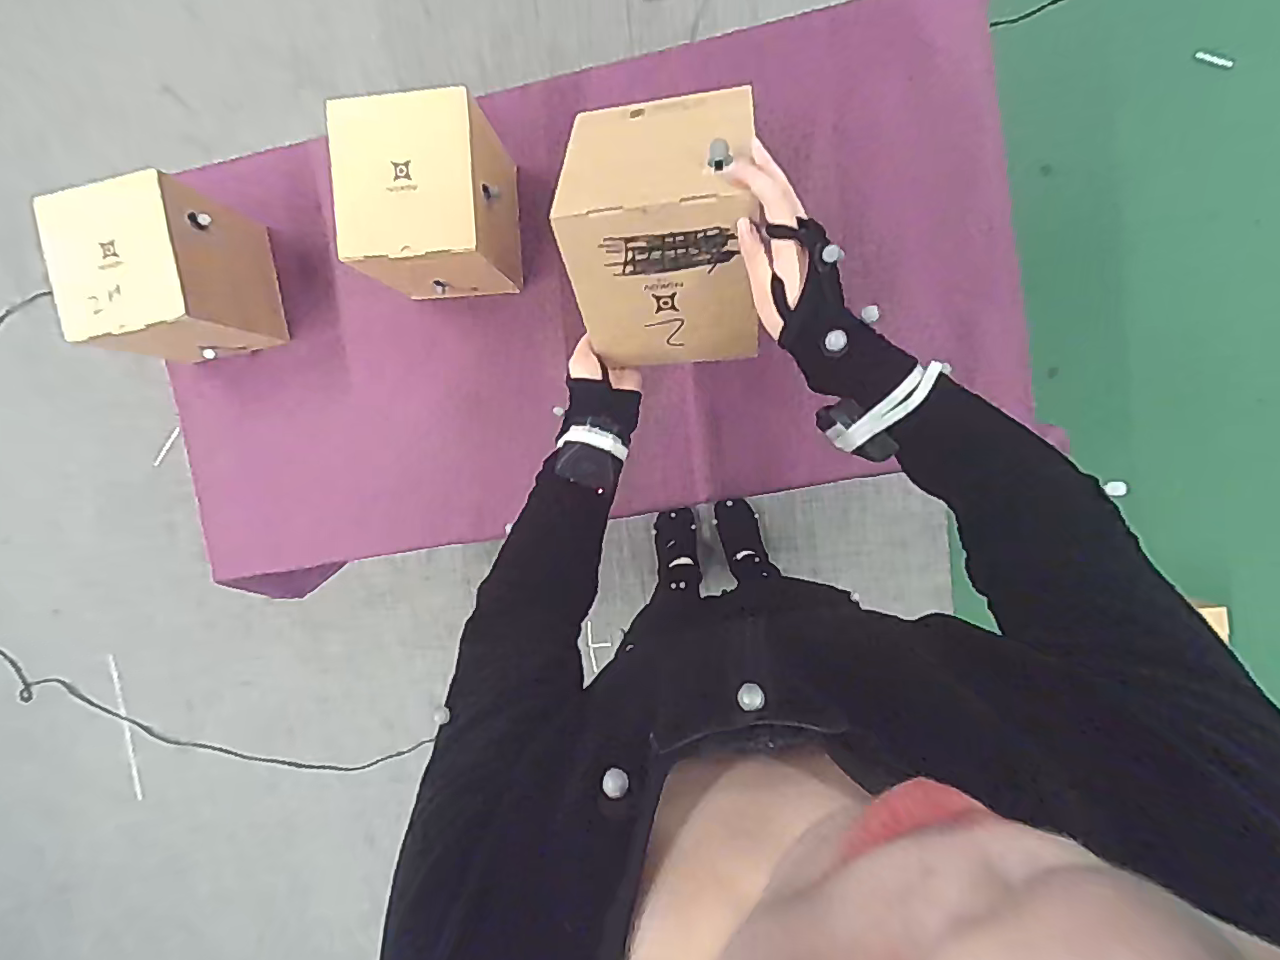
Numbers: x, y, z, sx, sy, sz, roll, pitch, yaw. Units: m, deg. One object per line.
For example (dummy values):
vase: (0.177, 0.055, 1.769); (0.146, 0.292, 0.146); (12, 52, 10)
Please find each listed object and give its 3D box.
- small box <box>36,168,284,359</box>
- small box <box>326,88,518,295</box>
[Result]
small box: (-0.619, -0.272, 0.720); (0.168, 0.176, 0.179); (-9, 93, 6)
small box: (-0.261, -0.347, 0.683); (0.168, 0.176, 0.179); (-2, 95, 6)
